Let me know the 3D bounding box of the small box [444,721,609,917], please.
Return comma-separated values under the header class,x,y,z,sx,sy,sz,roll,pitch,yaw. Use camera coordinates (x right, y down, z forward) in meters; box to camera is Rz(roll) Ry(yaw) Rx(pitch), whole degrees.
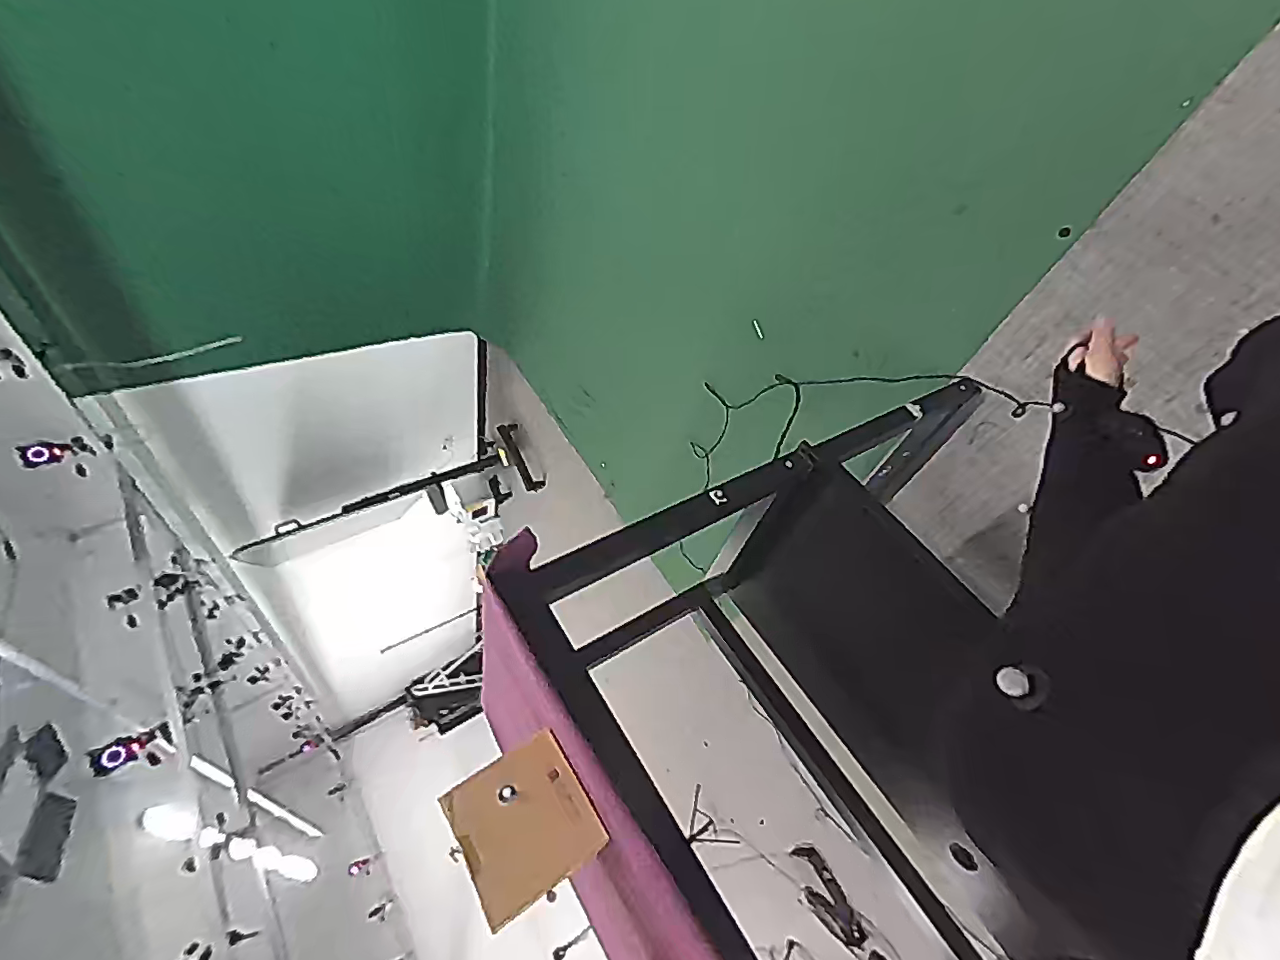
class,x,y,z,sx,sy,sz,roll,pitch,yaw
small box,-0.161,0.481,0.777,0.168,0.176,0.179,51,147,28
